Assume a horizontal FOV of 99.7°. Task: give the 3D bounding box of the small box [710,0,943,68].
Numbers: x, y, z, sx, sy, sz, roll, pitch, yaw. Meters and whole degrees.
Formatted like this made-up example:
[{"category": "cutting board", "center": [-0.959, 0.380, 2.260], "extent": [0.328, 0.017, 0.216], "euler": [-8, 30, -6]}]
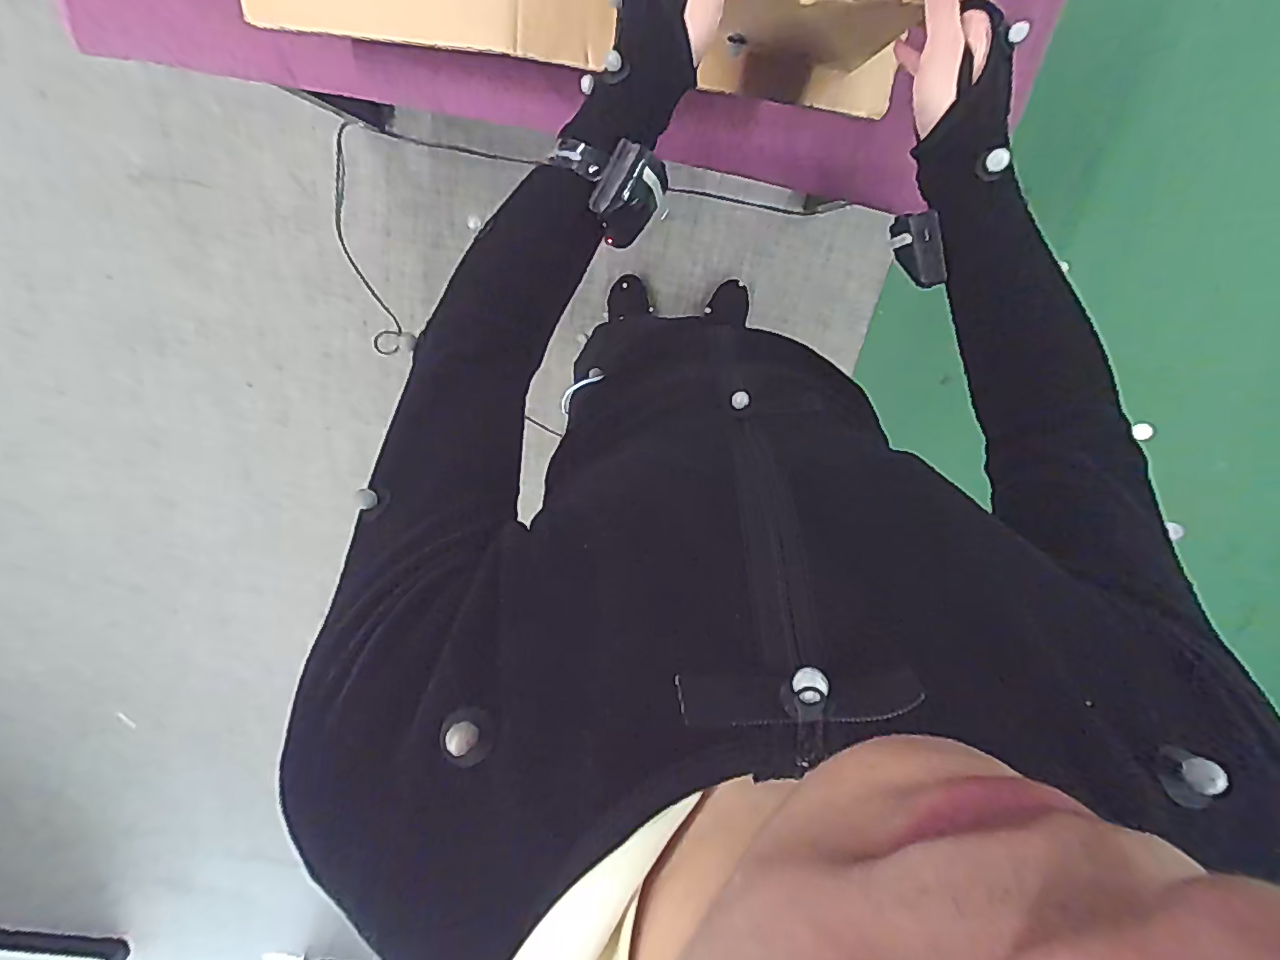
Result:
[{"category": "small box", "center": [0.160, -0.476, 0.445], "extent": [0.168, 0.176, 0.179], "euler": [6, 112, -5]}]
